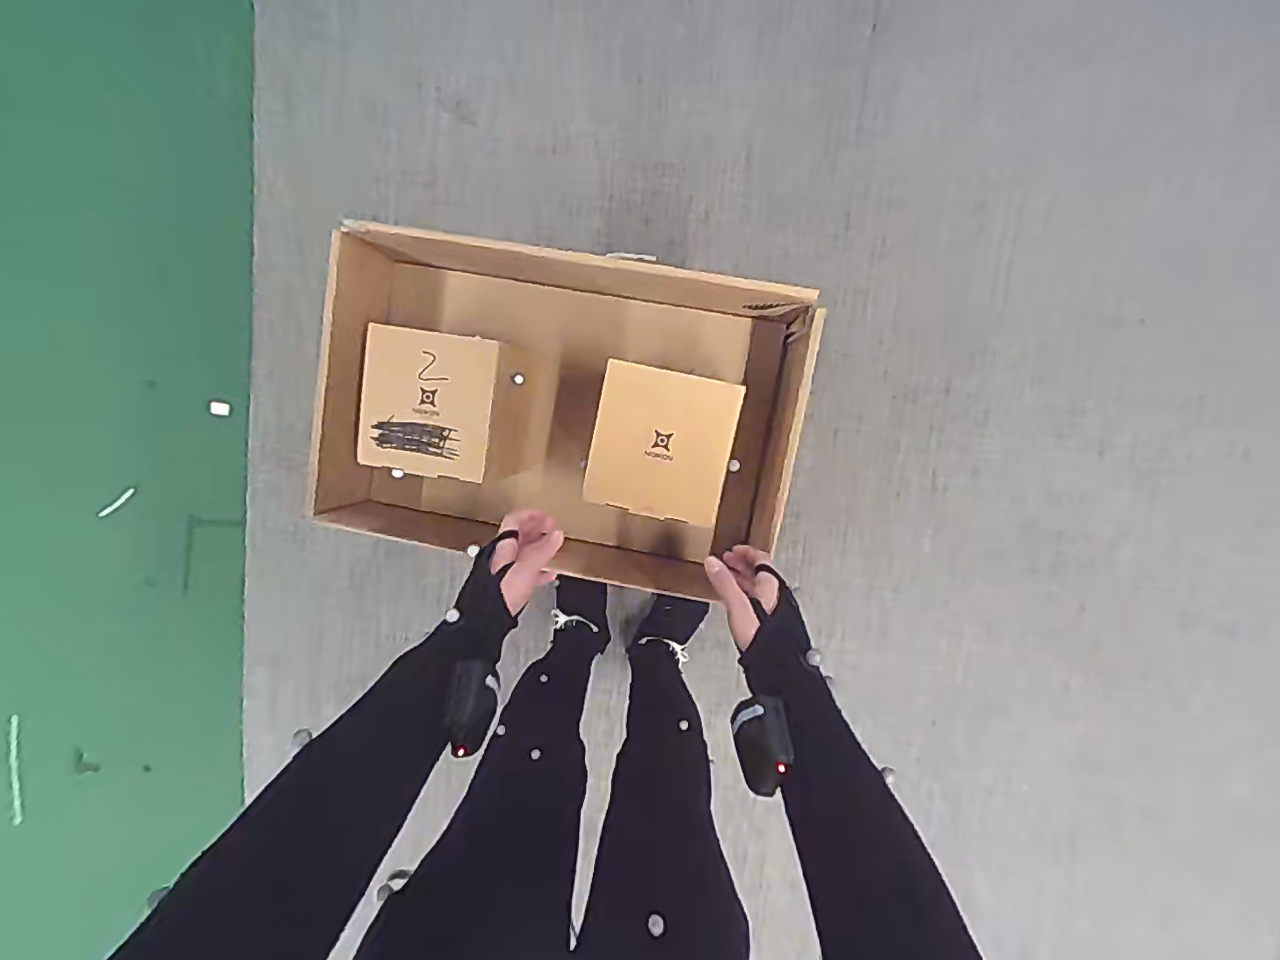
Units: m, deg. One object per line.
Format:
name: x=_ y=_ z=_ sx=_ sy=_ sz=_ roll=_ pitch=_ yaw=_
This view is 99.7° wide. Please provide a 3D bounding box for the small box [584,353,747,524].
small box: x=0.033 y=-0.057 z=0.717 sx=0.168 sy=0.176 sz=0.179 roll=12 pitch=98 yaw=3
